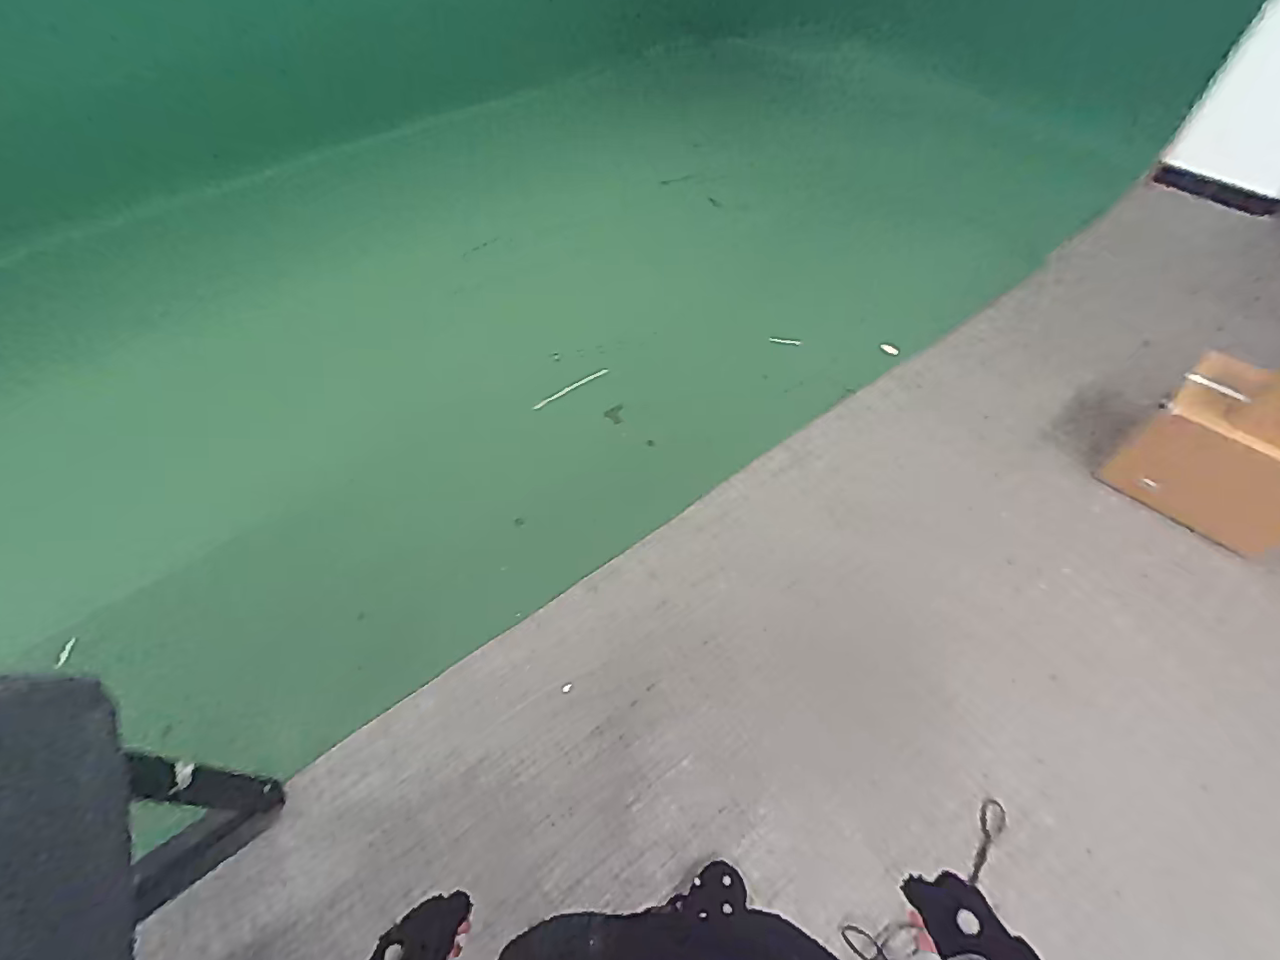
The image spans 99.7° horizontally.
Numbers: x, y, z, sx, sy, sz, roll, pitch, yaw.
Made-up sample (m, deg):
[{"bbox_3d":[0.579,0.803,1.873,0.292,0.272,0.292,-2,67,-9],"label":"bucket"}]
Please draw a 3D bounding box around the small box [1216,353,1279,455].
[{"bbox_3d":[1.550,-0.184,1.282,0.168,0.176,0.179,-38,62,-19],"label":"small box"}]
